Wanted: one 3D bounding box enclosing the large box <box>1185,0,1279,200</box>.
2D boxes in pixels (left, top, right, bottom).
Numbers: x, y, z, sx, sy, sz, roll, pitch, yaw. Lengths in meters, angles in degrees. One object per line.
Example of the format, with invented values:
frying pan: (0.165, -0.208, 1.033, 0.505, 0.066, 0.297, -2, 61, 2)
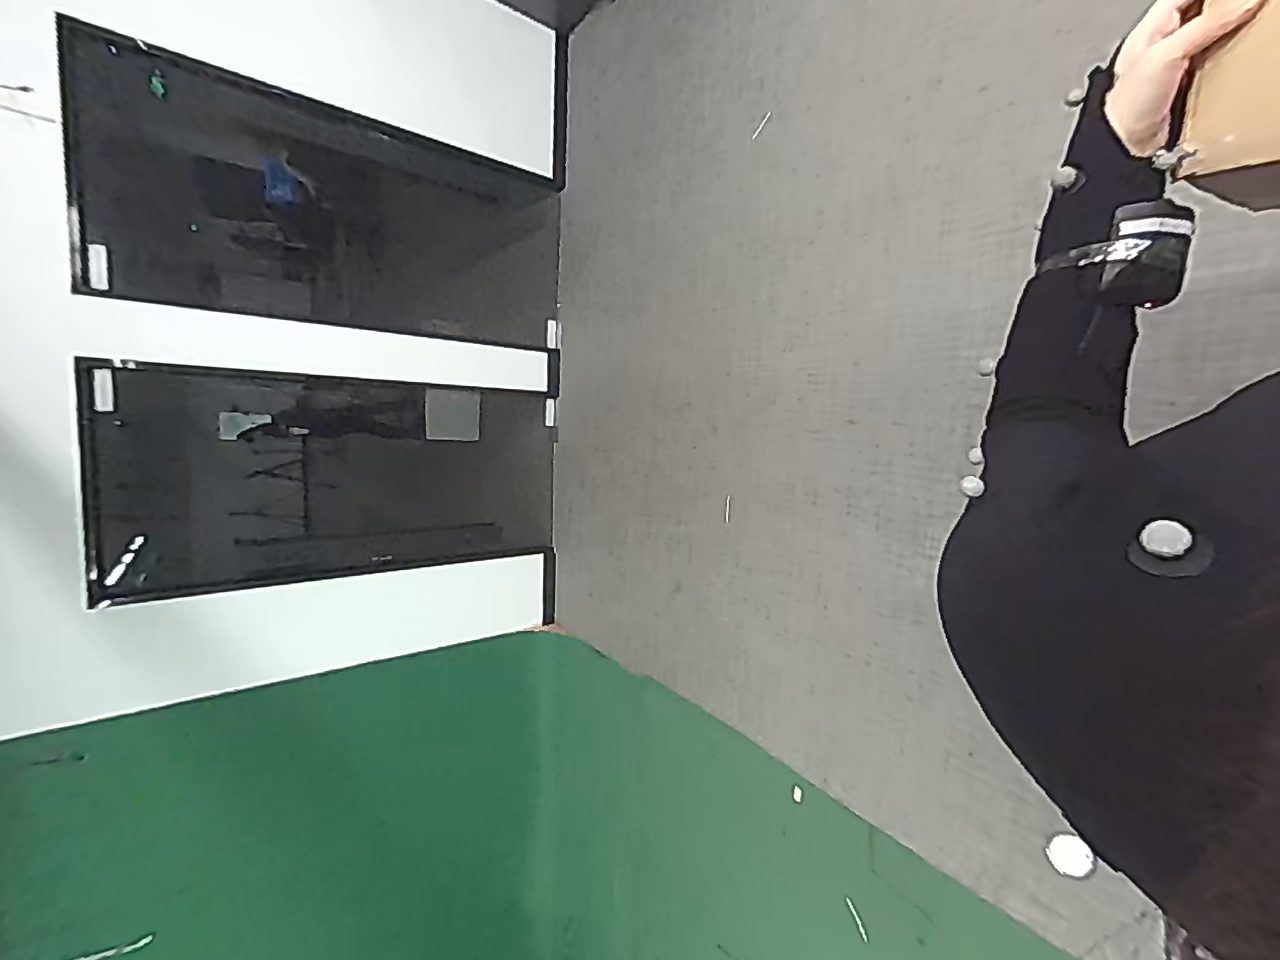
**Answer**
large box: (0.629, -0.372, 0.286, 0.408, 0.320, 0.320, 16, 114, 54)
